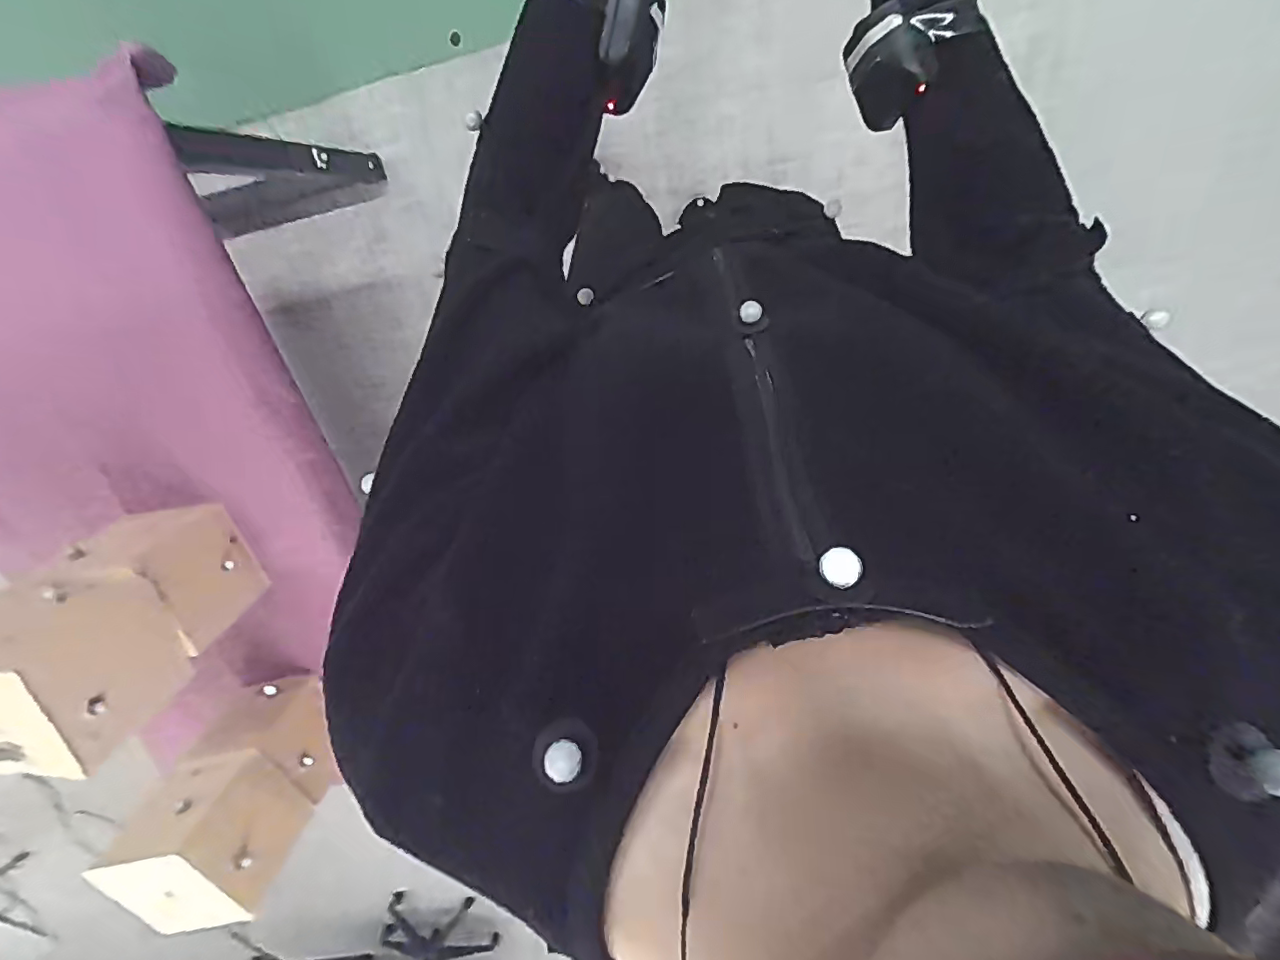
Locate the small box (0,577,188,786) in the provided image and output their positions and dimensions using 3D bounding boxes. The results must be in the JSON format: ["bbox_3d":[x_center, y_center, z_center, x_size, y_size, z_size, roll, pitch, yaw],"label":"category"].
[{"bbox_3d":[-0.726,0.244,0.674,0.168,0.176,0.179,1,116,2],"label":"small box"}]

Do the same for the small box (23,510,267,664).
[{"bbox_3d":[-0.723,0.162,0.816,0.179,0.176,0.168,-8,116,7],"label":"small box"}]

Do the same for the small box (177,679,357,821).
[{"bbox_3d":[-0.657,0.495,0.981,0.168,0.176,0.179,-14,115,9],"label":"small box"}]

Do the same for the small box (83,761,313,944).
[{"bbox_3d":[-0.660,0.562,0.834,0.168,0.176,0.179,-16,115,9],"label":"small box"}]
